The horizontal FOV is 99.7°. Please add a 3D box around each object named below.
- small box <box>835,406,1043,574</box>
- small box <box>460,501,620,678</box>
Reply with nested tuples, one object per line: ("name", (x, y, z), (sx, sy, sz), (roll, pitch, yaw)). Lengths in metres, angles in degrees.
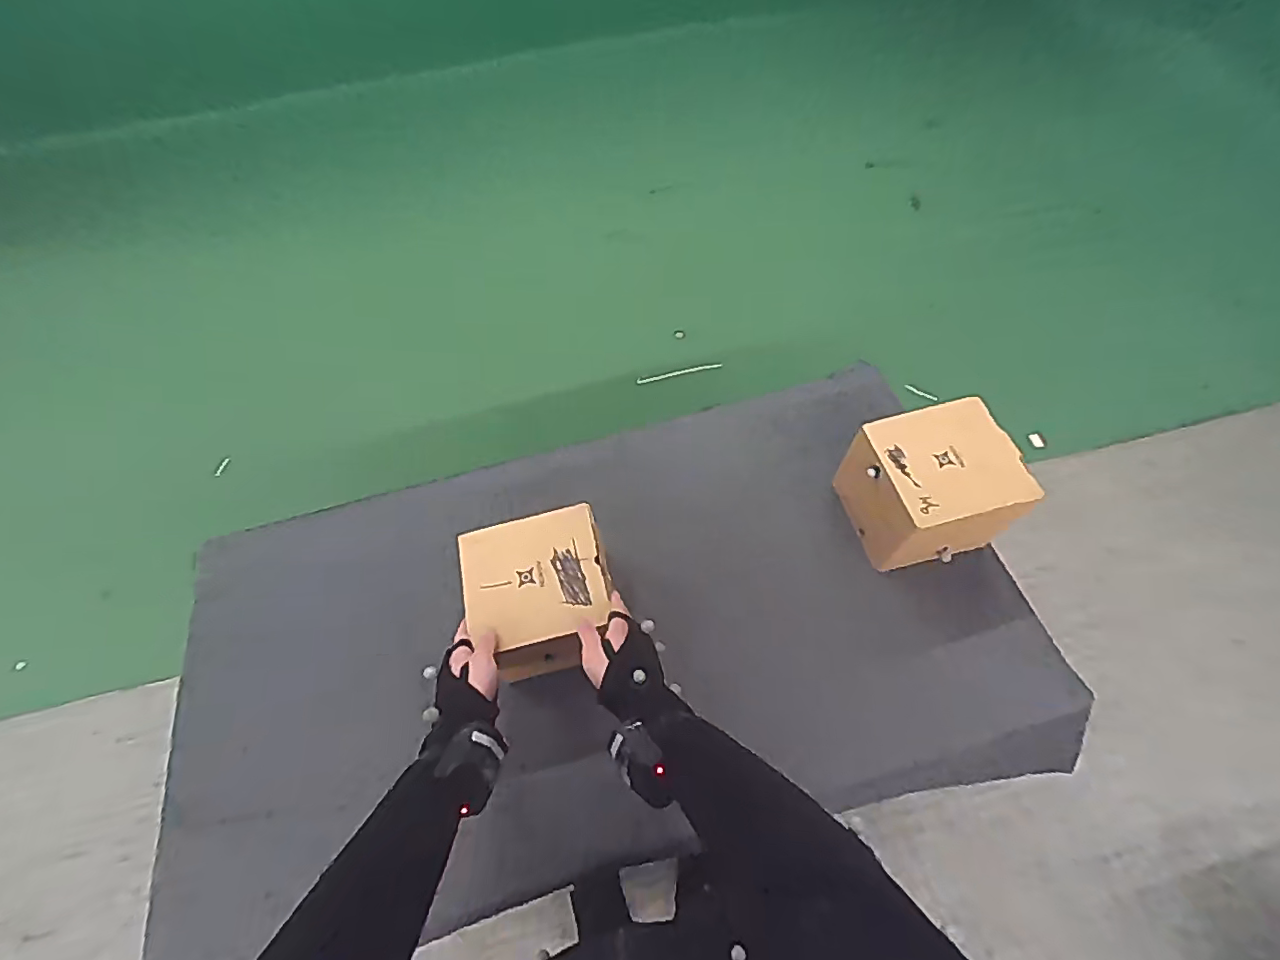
("small box", (0.414, 0.019, 0.785), (0.179, 0.176, 0.168), (-12, 61, -5))
("small box", (-0.126, 0.151, 0.724), (0.179, 0.176, 0.168), (-13, 60, -5))
